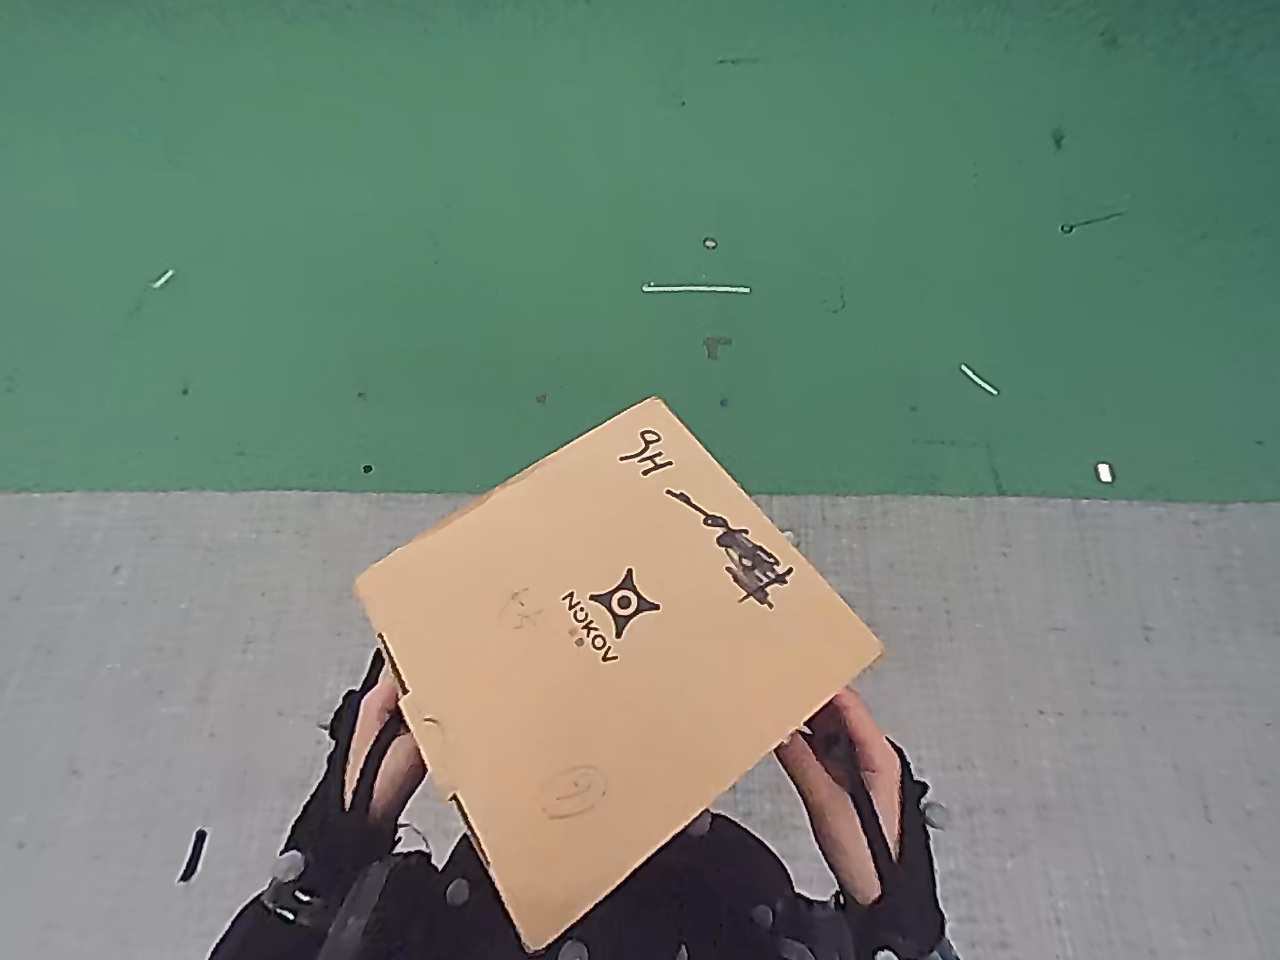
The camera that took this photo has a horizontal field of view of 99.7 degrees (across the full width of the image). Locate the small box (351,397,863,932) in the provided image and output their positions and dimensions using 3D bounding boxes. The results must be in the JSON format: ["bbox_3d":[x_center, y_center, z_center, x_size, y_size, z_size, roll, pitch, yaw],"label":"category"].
[{"bbox_3d":[-0.016,0.094,0.308,0.179,0.176,0.168,-33,66,-14],"label":"small box"}]
